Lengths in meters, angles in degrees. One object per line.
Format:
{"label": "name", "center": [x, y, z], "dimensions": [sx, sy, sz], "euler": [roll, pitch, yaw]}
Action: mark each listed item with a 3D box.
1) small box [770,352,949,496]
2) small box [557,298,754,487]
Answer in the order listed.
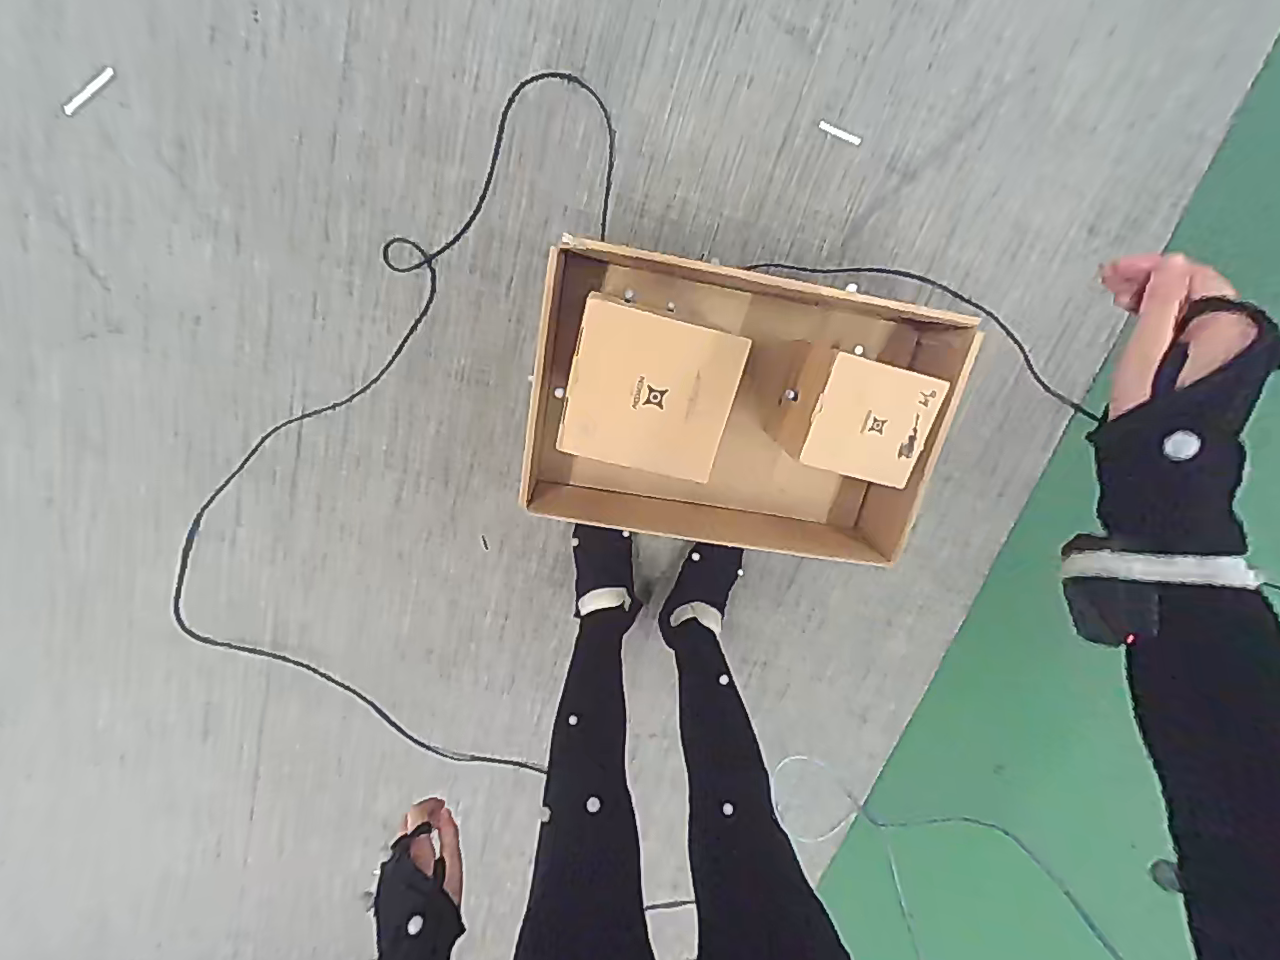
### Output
{"label": "small box", "center": [0.324, -0.095, 0.841], "dimensions": [0.179, 0.176, 0.168], "euler": [14, 107, -8]}
{"label": "small box", "center": [0.009, -0.110, 0.644], "dimensions": [0.179, 0.176, 0.168], "euler": [13, 108, -9]}
